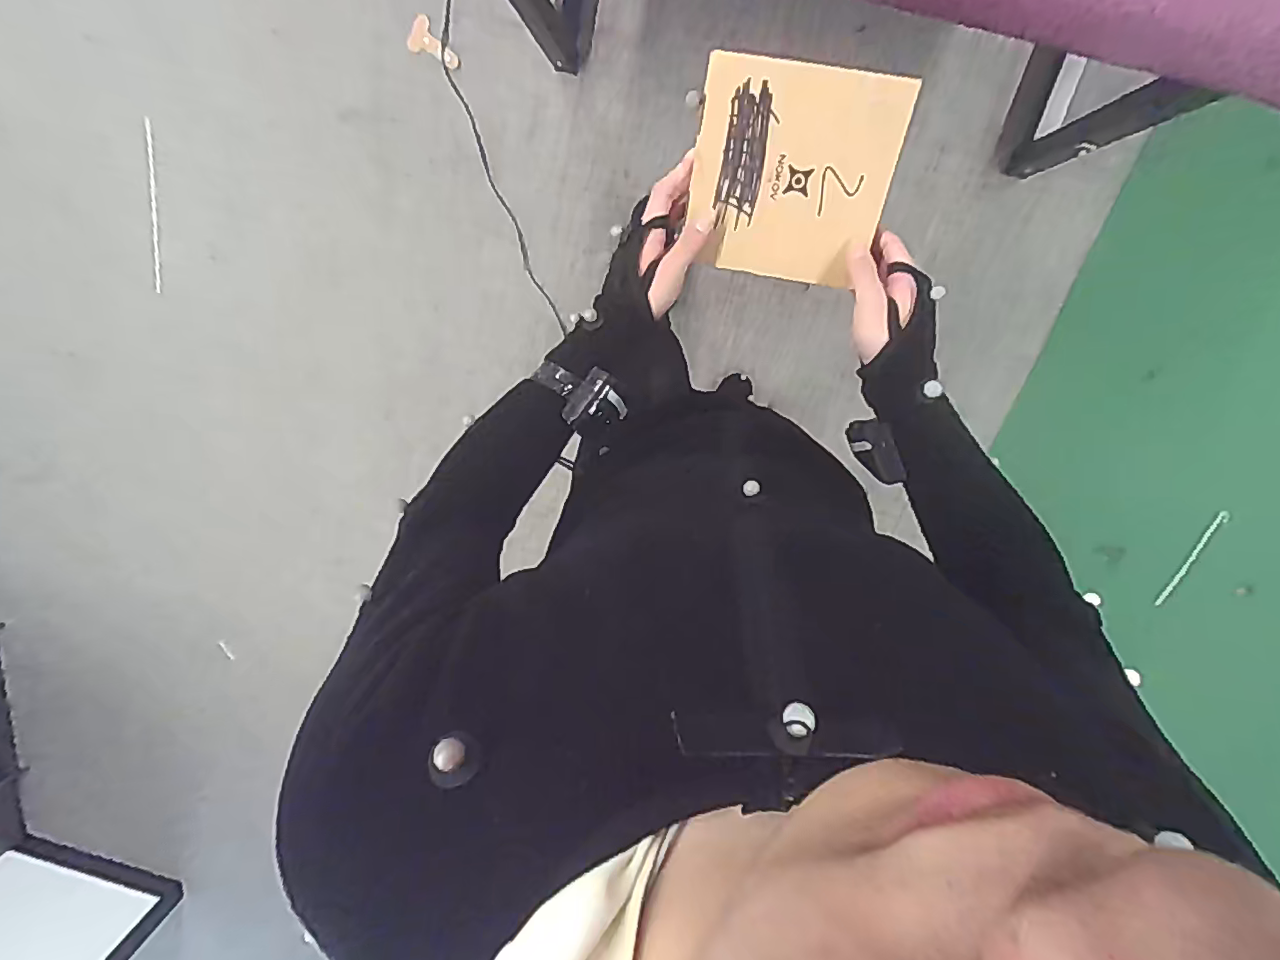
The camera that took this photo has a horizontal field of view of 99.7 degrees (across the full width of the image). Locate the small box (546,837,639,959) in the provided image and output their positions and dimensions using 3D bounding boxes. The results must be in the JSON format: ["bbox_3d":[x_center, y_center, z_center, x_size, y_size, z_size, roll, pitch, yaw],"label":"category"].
[{"bbox_3d":[-0.108,1.016,1.304,0.168,0.176,0.179,19,110,0],"label":"small box"}]
